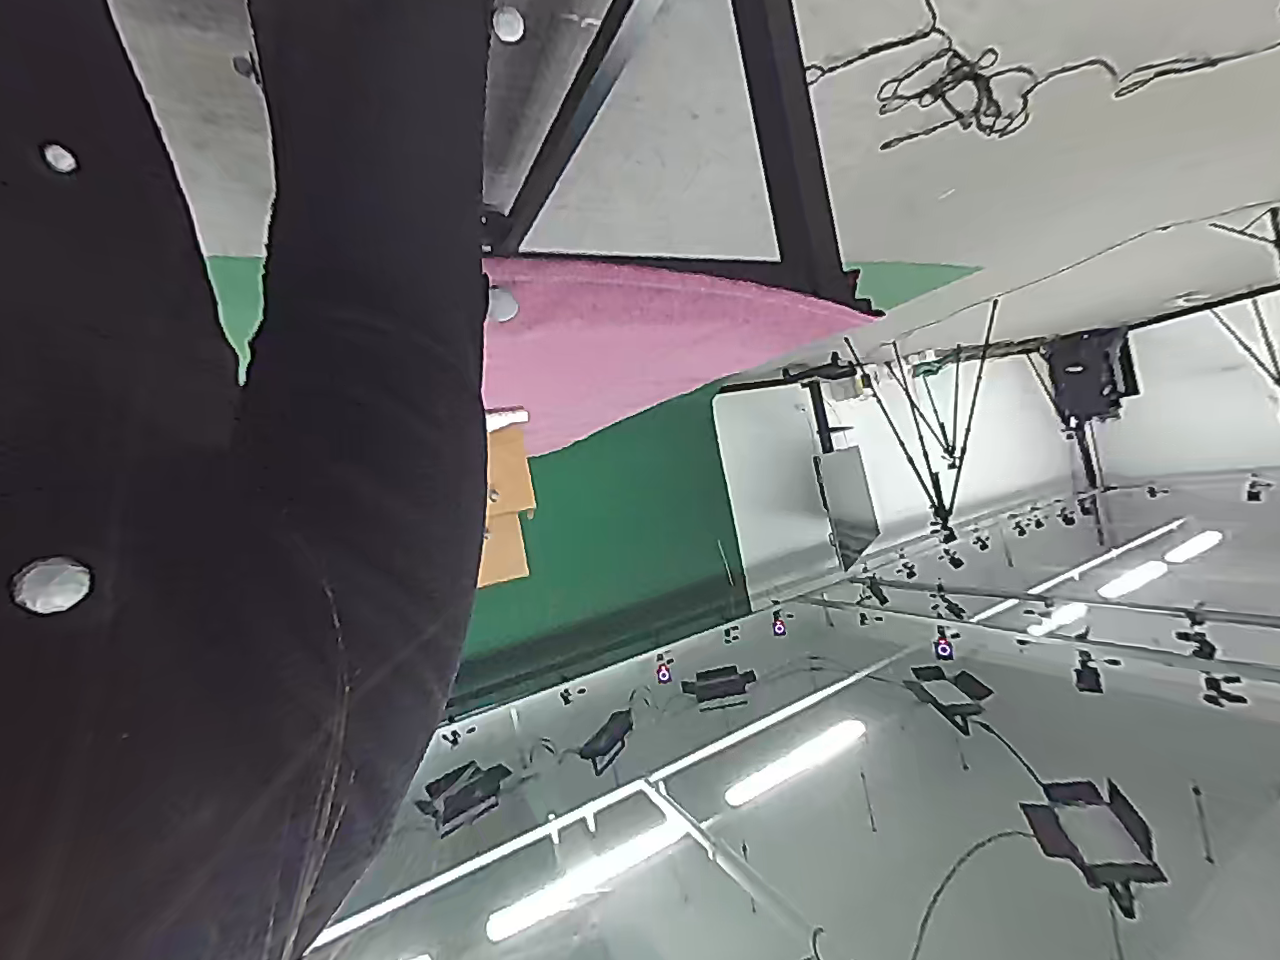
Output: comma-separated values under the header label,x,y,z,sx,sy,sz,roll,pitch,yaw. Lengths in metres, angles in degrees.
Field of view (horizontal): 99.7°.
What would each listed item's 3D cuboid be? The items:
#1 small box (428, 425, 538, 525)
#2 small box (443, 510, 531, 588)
label,x,y,z,sx,sy,sz,roll,pitch,yaw
small box,-0.330,-0.009,1.115,0.179,0.176,0.168,-12,180,-26
small box,-0.405,0.175,1.410,0.179,0.176,0.168,-10,180,-28
